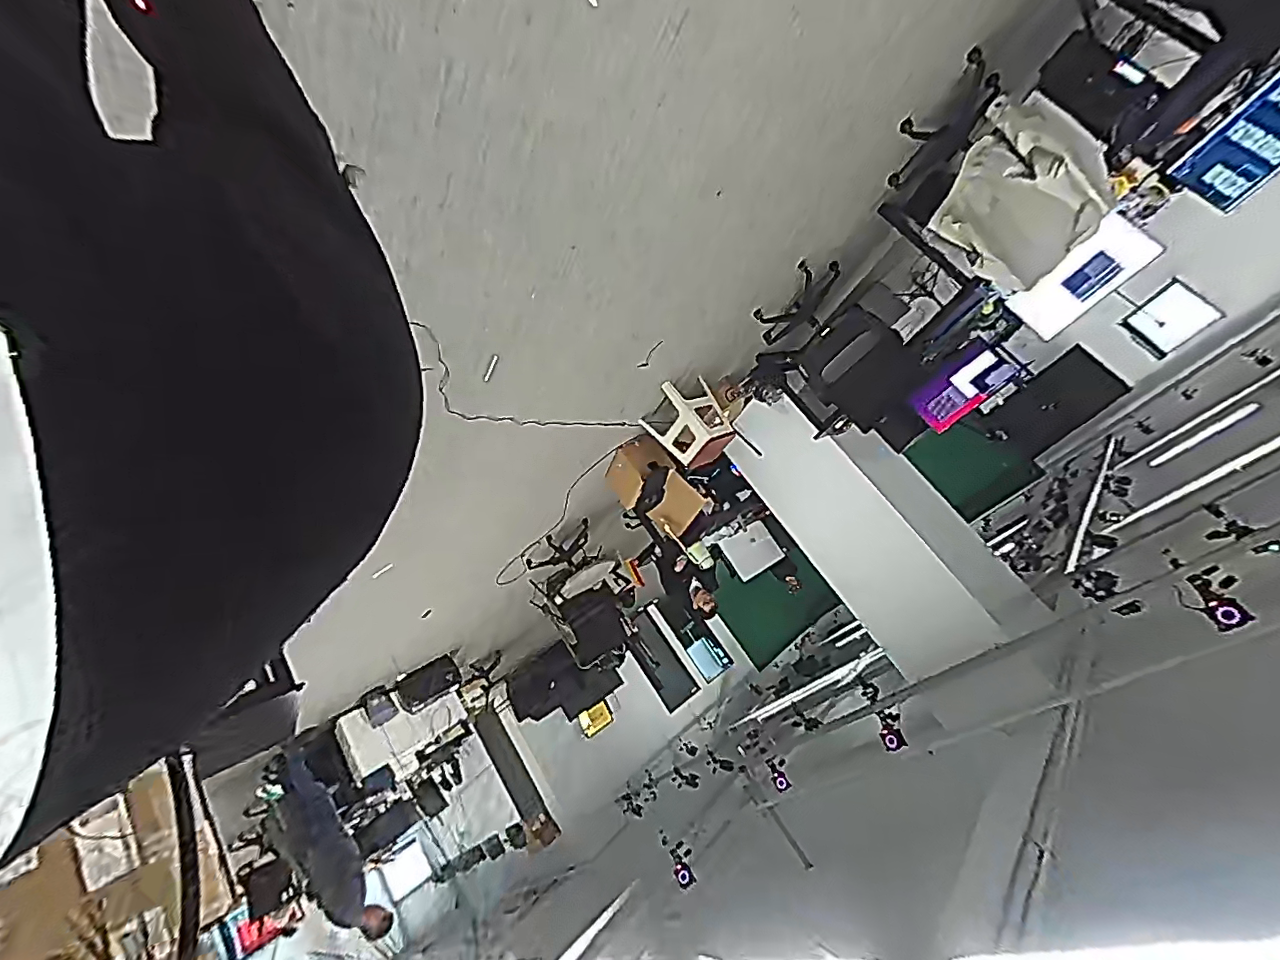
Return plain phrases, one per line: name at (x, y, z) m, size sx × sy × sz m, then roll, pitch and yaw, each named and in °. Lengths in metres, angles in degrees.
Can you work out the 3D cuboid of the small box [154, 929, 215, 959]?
small box at (-1.352, 1.457, 1.572) m, size 0.179 × 0.176 × 0.168 m, roll -18°, pitch 159°, yaw -41°
